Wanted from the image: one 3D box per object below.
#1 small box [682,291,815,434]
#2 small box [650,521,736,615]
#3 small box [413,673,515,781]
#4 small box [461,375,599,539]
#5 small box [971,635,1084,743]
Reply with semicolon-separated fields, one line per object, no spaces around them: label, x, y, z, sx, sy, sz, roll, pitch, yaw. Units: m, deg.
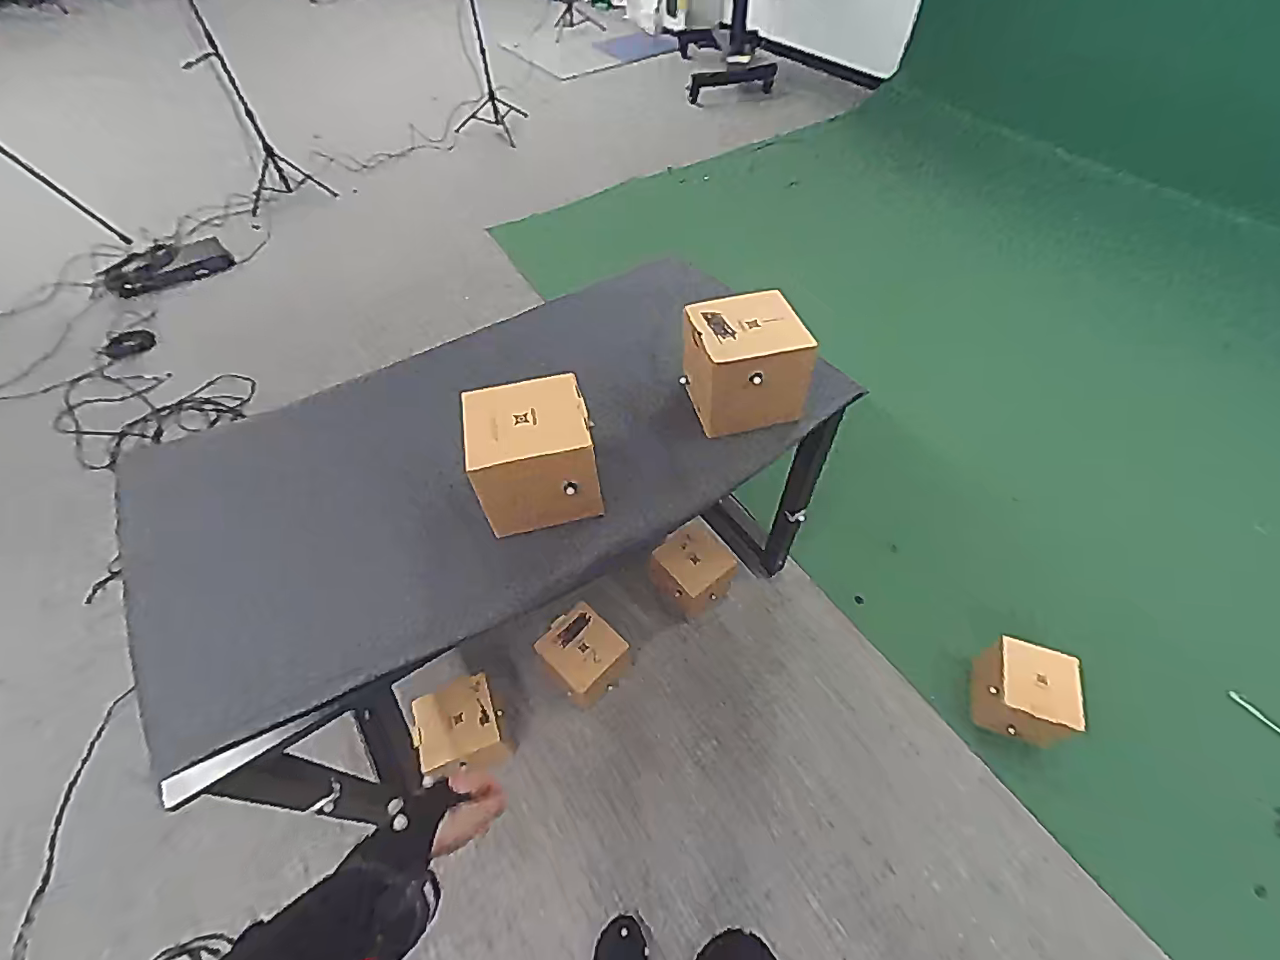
small box;0.179;-0.200;0.946;0.179;0.176;0.168;-13;52;-6
small box;0.146;0.256;1.520;0.168;0.176;0.179;-34;60;-22
small box;-0.416;0.595;1.290;0.179;0.176;0.168;-19;56;-11
small box;-0.164;-0.033;0.840;0.179;0.176;0.168;-13;51;-6
small box;0.930;0.510;1.314;0.168;0.176;0.179;16;56;13
